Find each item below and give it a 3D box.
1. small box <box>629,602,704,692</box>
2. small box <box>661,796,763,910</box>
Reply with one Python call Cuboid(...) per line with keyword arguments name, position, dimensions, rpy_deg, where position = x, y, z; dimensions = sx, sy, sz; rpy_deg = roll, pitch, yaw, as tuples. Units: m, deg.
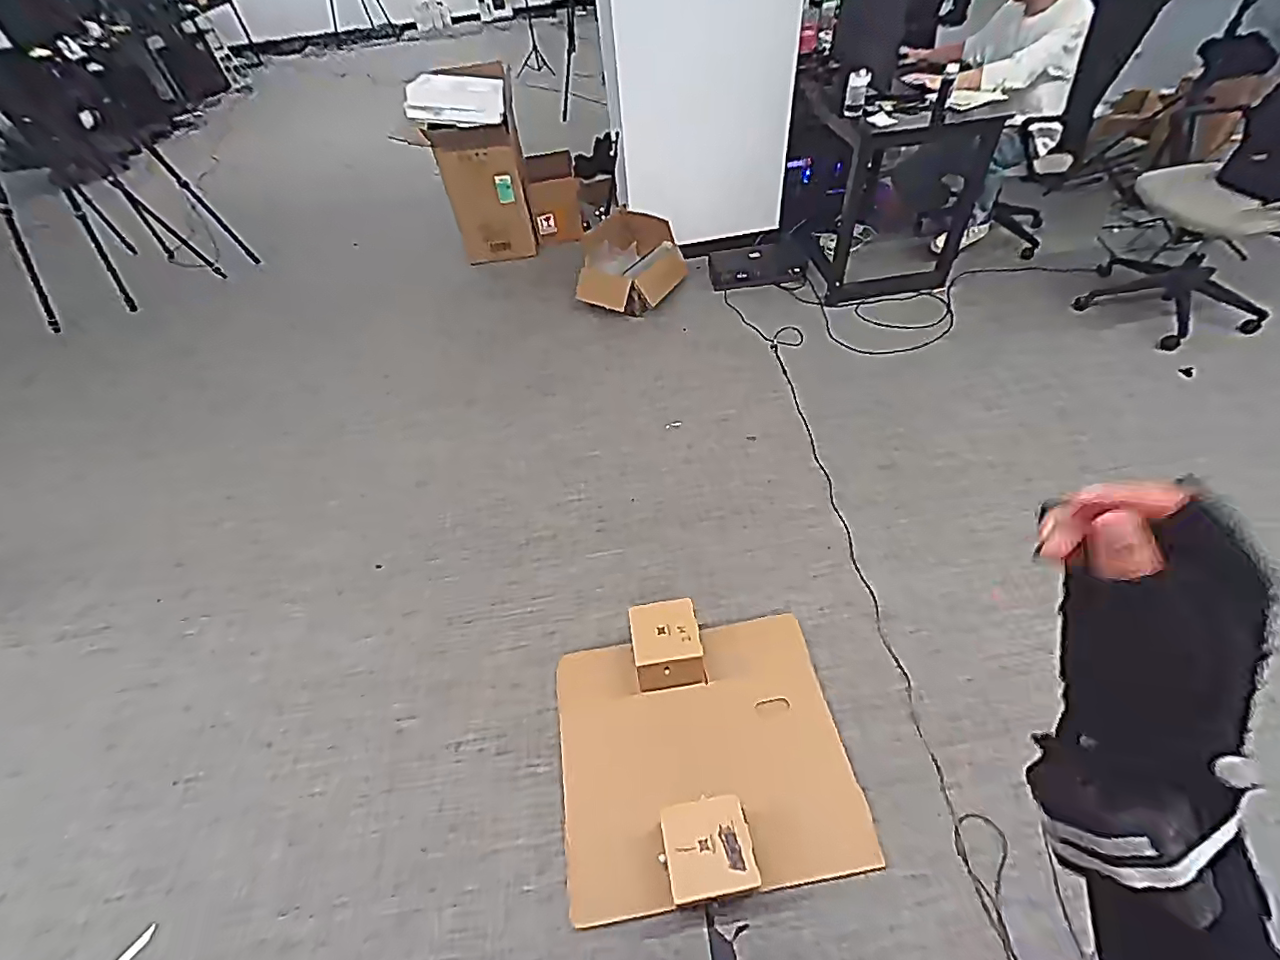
Cuboid(name="small box", position=(0.072, 0.452, 1.451), dimensions=(0.179, 0.176, 0.168), rpy_deg=(-8, 49, -2))
Cuboid(name="small box", position=(0.146, 0.793, 1.147), dimensions=(0.179, 0.176, 0.168), rpy_deg=(-11, 49, -3))
